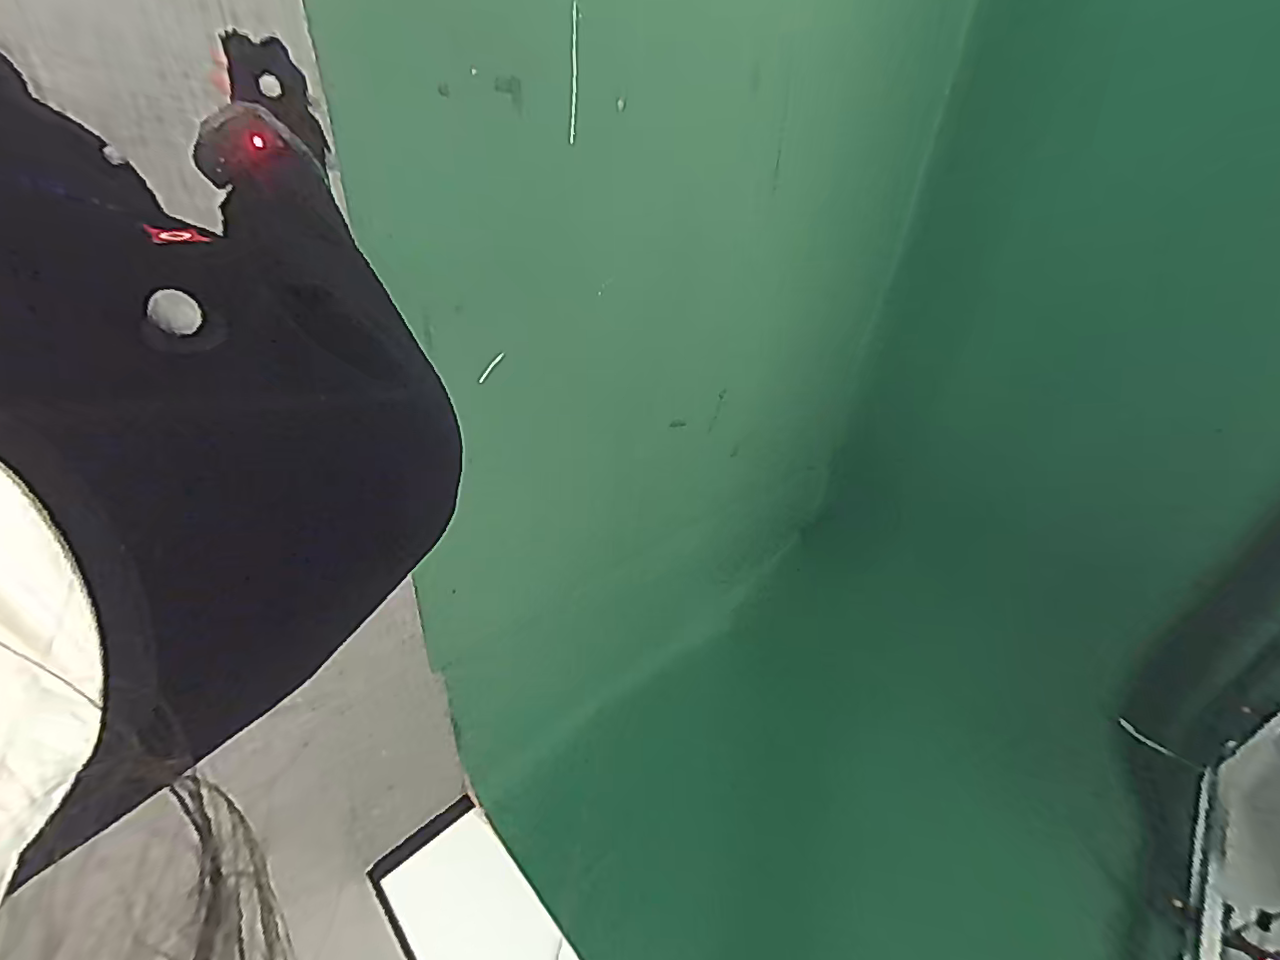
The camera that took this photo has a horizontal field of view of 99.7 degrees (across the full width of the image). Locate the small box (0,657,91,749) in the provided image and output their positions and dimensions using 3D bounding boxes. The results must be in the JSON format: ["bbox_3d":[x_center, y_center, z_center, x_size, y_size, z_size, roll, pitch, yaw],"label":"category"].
[{"bbox_3d":[-1.339,0.522,1.160,0.179,0.176,0.168,-26,135,-39],"label":"small box"}]

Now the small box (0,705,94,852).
[{"bbox_3d":[-1.225,0.588,1.062,0.179,0.176,0.168,-20,131,-40],"label":"small box"}]
